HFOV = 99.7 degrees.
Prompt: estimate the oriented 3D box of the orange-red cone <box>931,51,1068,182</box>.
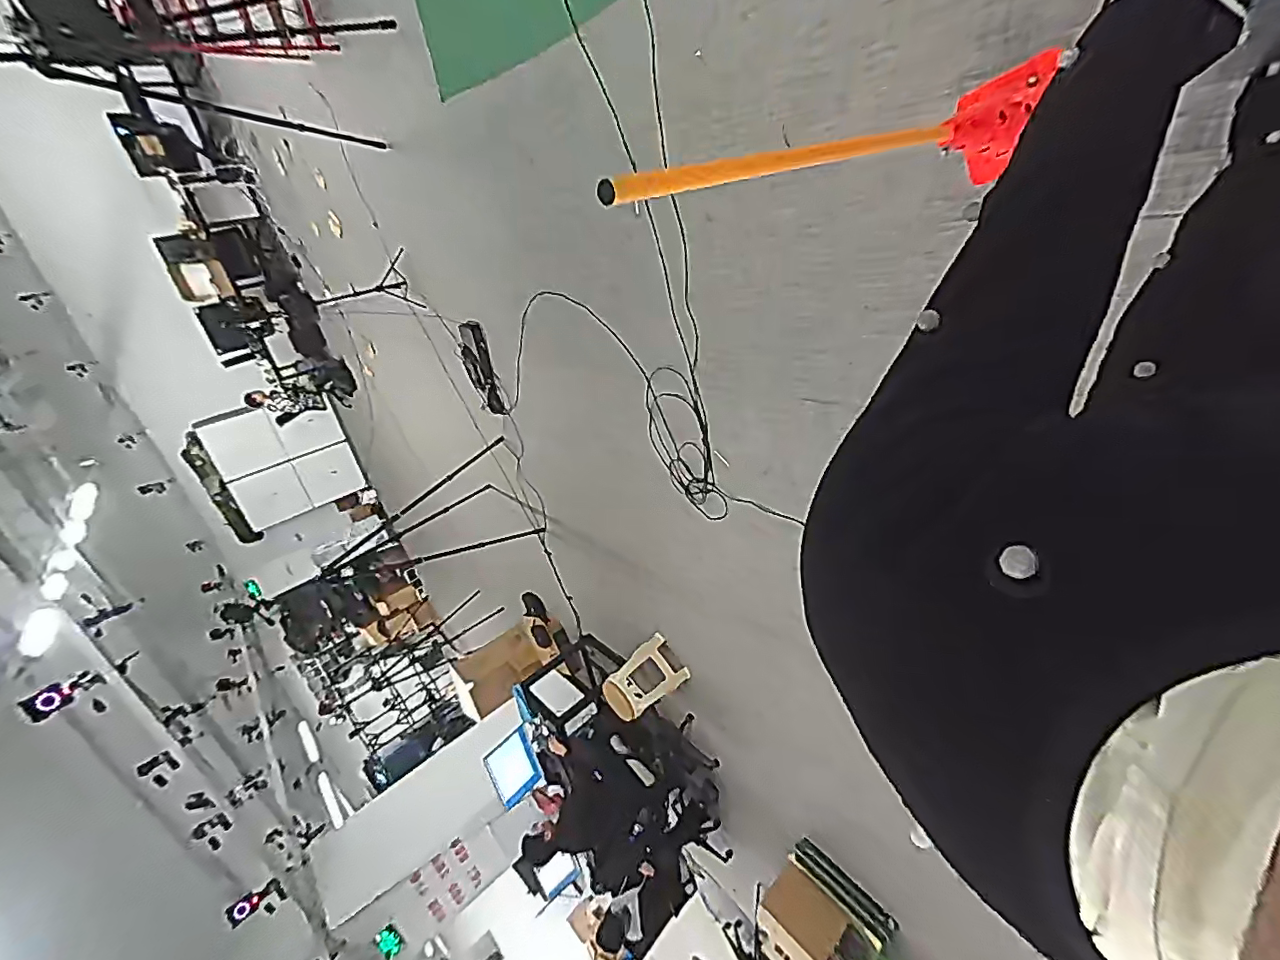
[{"bbox_3d":[0.691,-0.719,1.103,0.199,0.360,0.198,1,116,55],"label":"orange-red cone"}]
